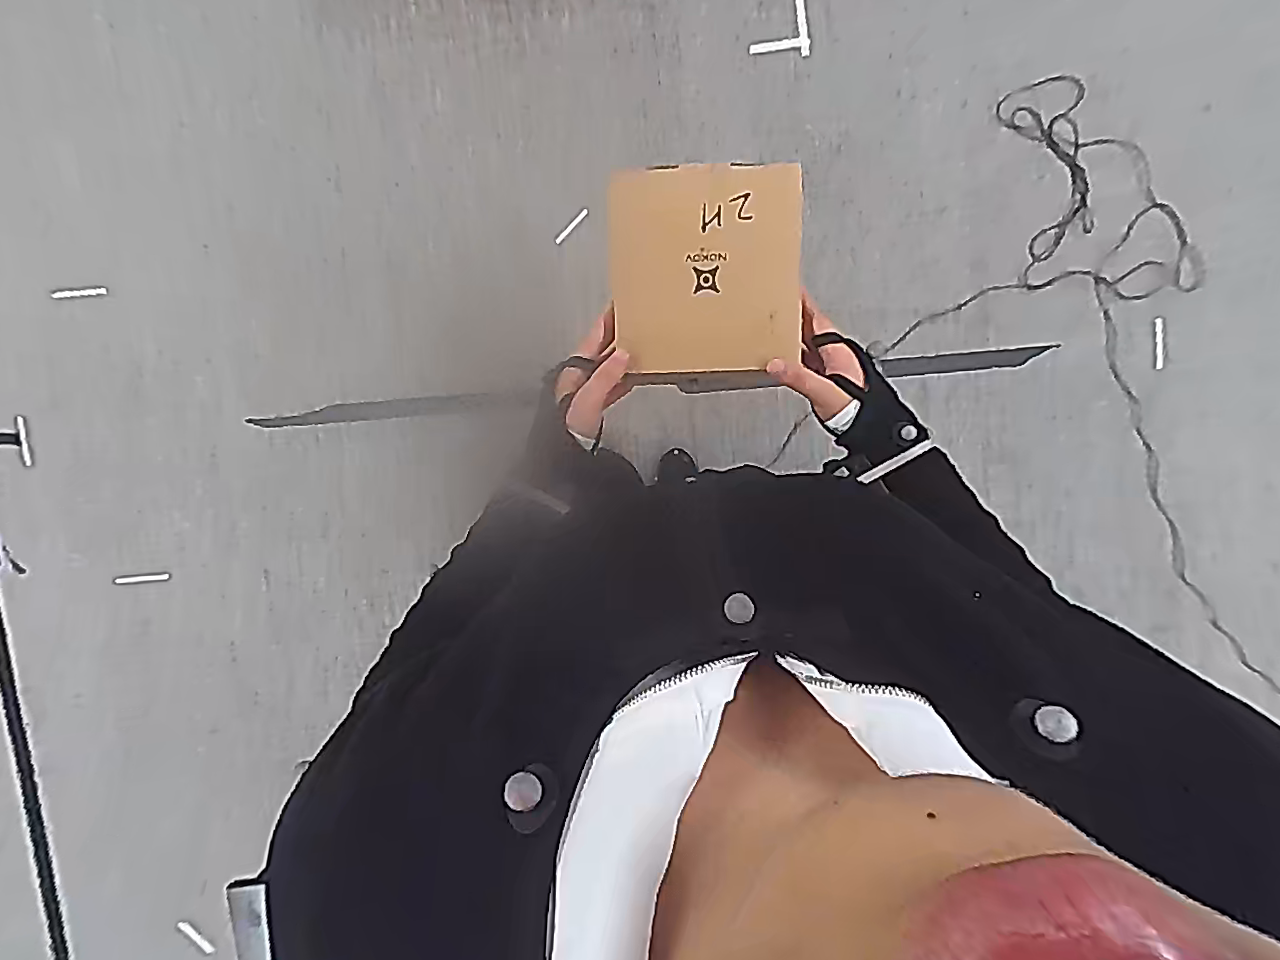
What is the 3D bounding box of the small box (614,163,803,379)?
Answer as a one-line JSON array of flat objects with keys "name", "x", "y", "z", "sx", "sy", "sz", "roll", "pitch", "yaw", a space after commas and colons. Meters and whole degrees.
[{"name": "small box", "x": 0.061, "y": -0.196, "z": 0.557, "sx": 0.168, "sy": 0.176, "sz": 0.179, "roll": -2, "pitch": 96, "yaw": 0}]
